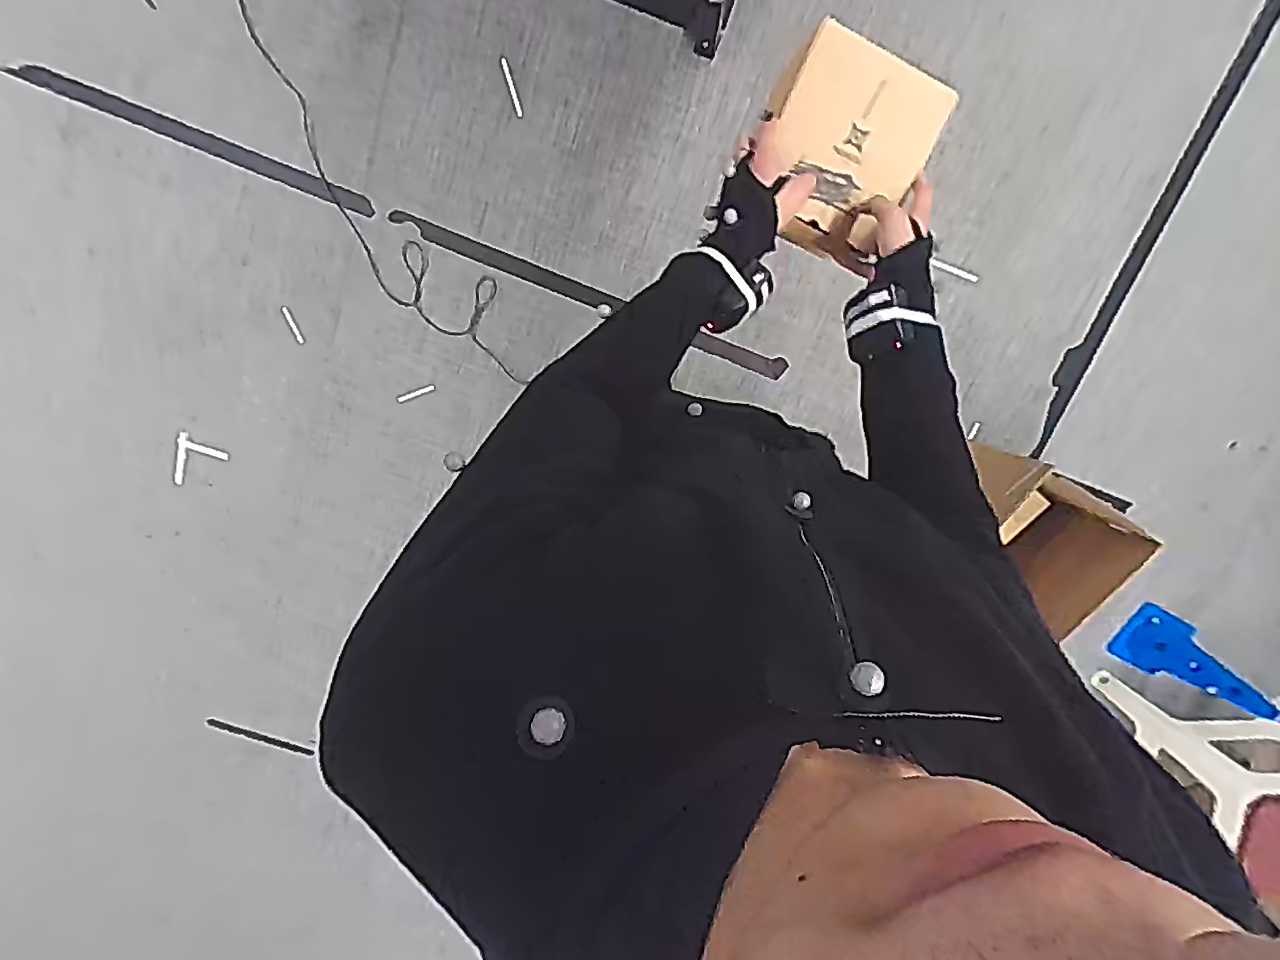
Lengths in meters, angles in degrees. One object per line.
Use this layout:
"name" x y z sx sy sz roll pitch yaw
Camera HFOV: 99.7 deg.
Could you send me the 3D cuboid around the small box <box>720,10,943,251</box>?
"small box" 0.207 -0.391 0.648 0.168 0.176 0.179 20 110 -9
